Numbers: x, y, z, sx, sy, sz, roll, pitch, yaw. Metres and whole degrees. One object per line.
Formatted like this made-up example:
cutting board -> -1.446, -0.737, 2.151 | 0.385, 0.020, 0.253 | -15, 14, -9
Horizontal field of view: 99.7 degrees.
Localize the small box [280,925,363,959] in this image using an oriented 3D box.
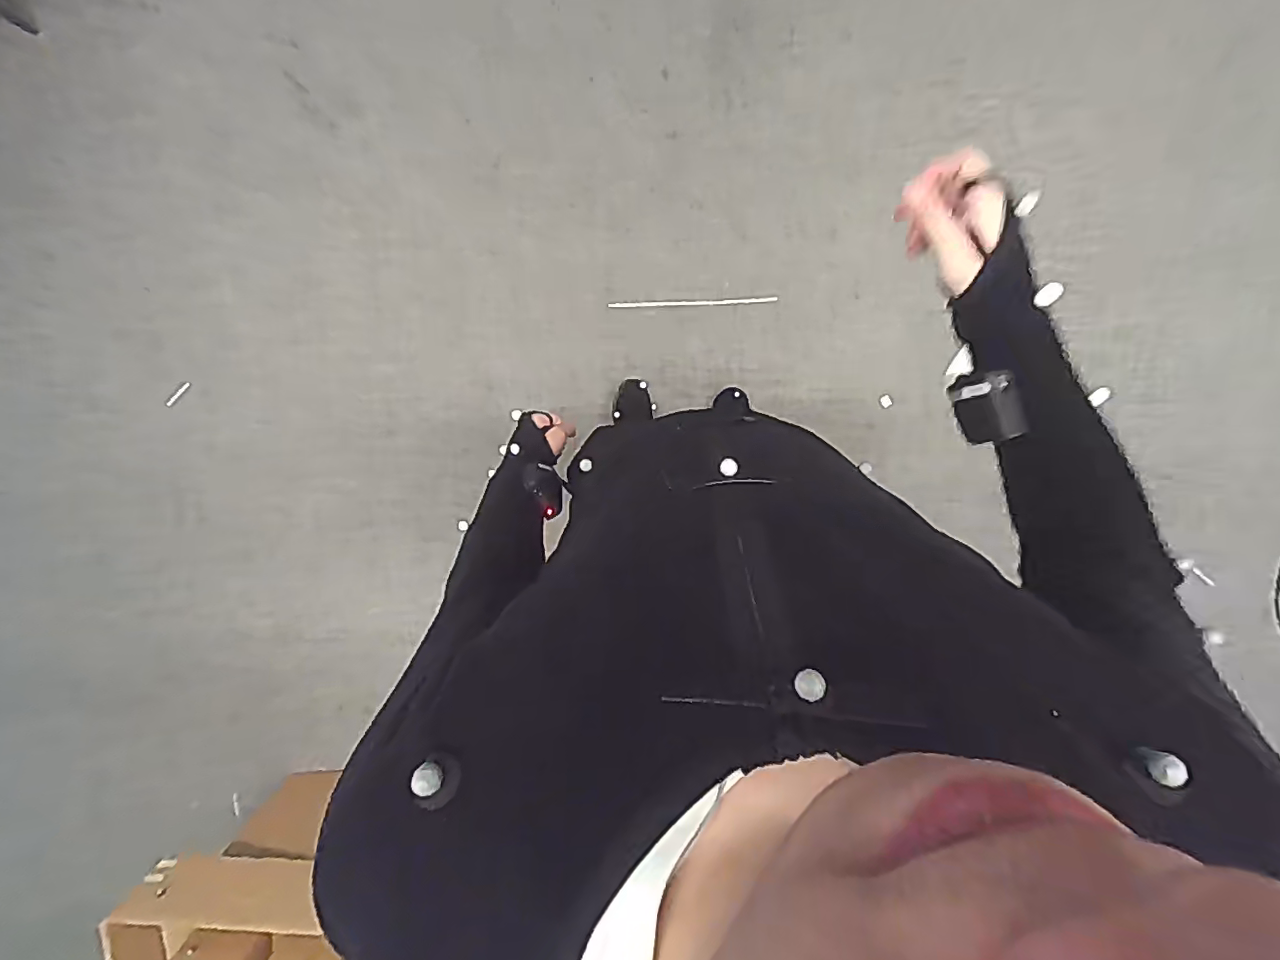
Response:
small box -> -0.829, 1.285, 1.379 | 0.179, 0.176, 0.168 | 3, 99, 3
